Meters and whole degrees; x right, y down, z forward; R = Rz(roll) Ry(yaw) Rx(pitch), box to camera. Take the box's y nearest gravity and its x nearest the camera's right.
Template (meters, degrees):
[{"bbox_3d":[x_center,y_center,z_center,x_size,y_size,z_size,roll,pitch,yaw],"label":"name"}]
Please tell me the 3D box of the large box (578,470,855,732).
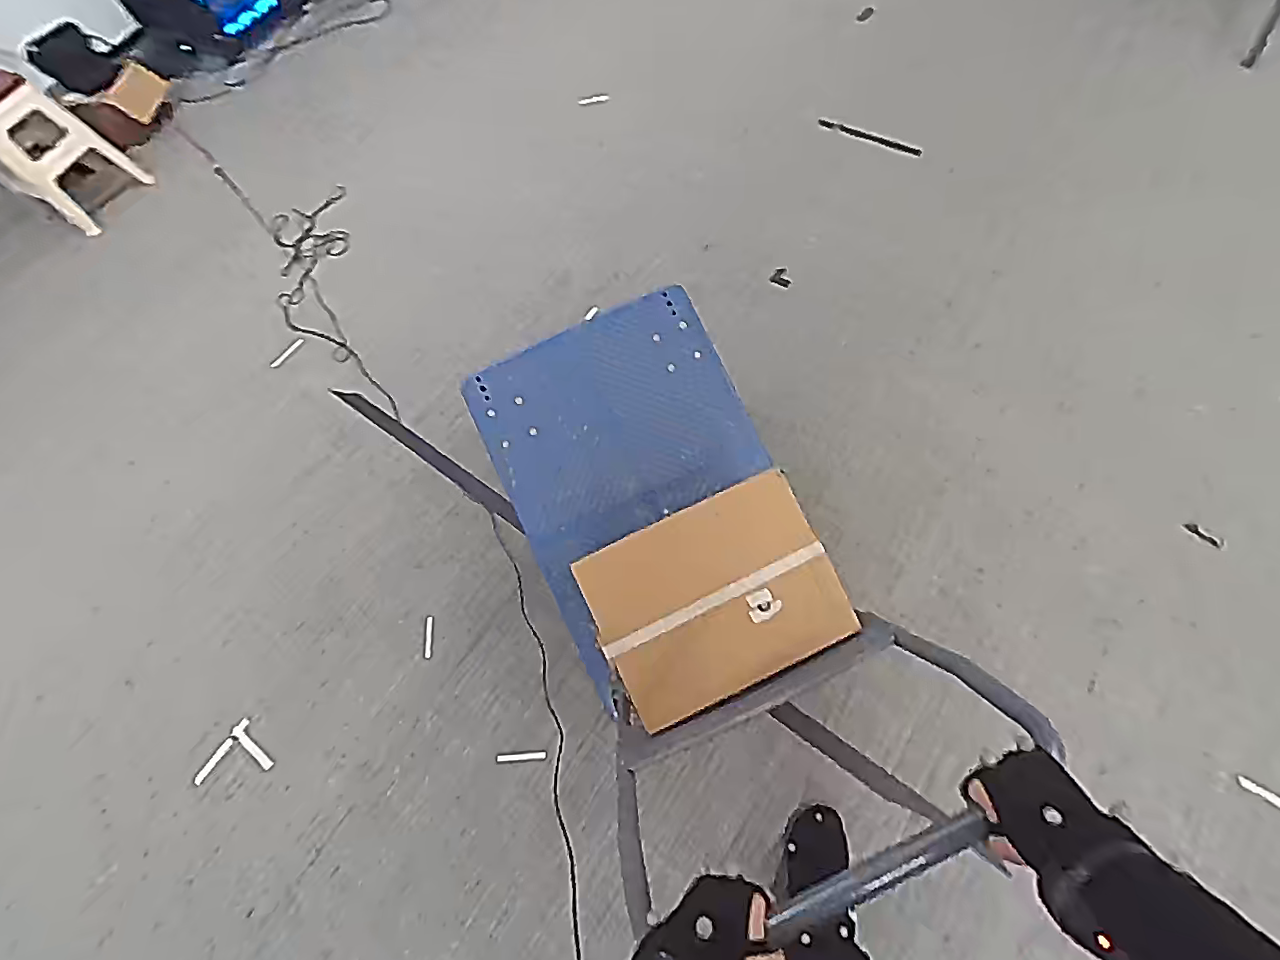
[{"bbox_3d":[0.129,0.221,1.082,0.408,0.320,0.320,-26,86,-4],"label":"large box"}]
